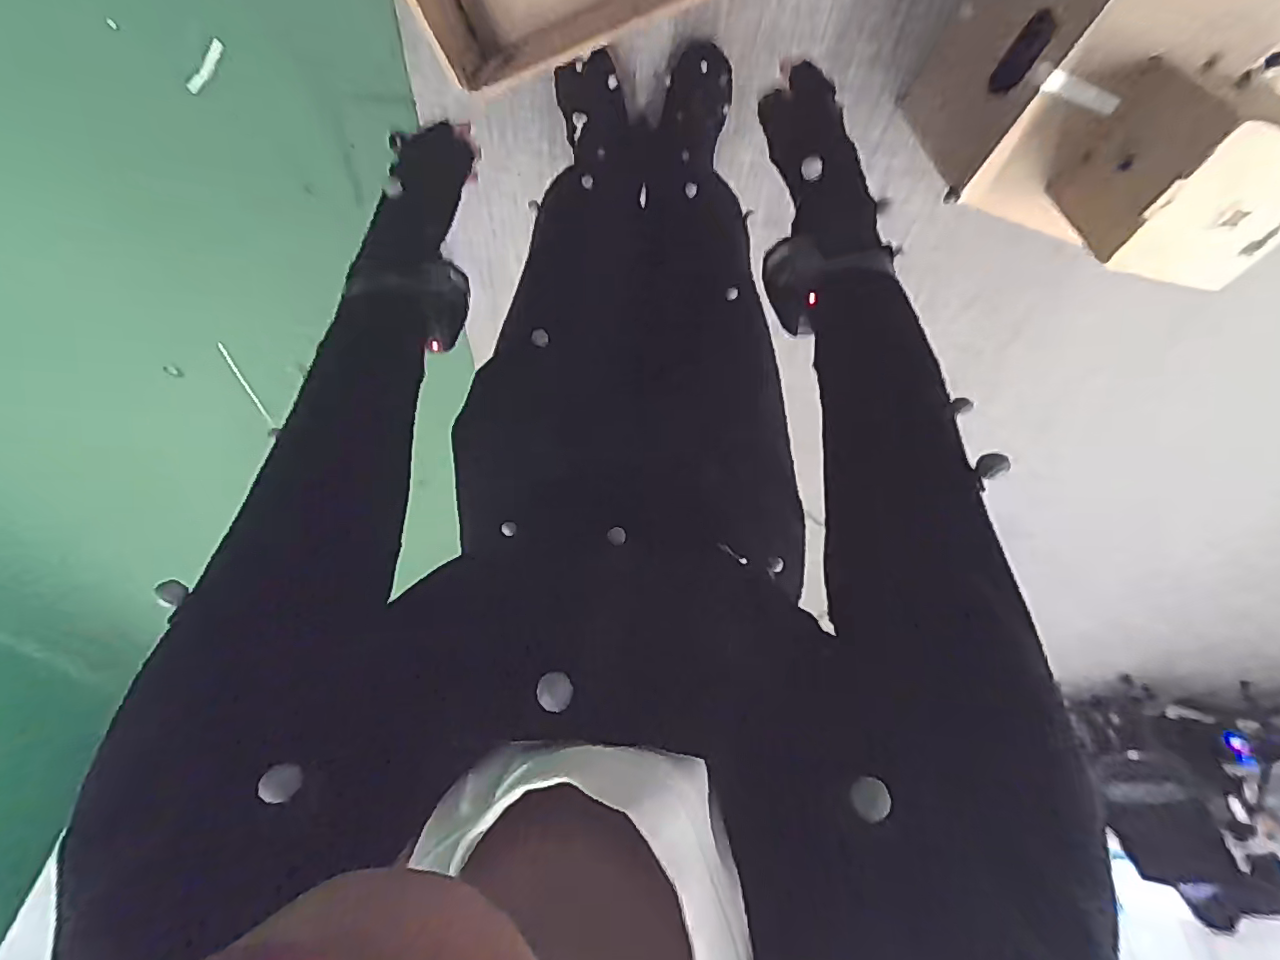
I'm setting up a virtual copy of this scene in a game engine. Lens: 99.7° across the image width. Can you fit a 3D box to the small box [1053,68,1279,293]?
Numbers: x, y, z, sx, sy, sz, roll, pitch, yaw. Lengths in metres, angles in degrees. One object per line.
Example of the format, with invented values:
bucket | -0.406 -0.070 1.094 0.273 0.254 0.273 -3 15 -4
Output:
small box | 0.657 -0.359 0.650 0.179 0.176 0.168 8 144 -8
